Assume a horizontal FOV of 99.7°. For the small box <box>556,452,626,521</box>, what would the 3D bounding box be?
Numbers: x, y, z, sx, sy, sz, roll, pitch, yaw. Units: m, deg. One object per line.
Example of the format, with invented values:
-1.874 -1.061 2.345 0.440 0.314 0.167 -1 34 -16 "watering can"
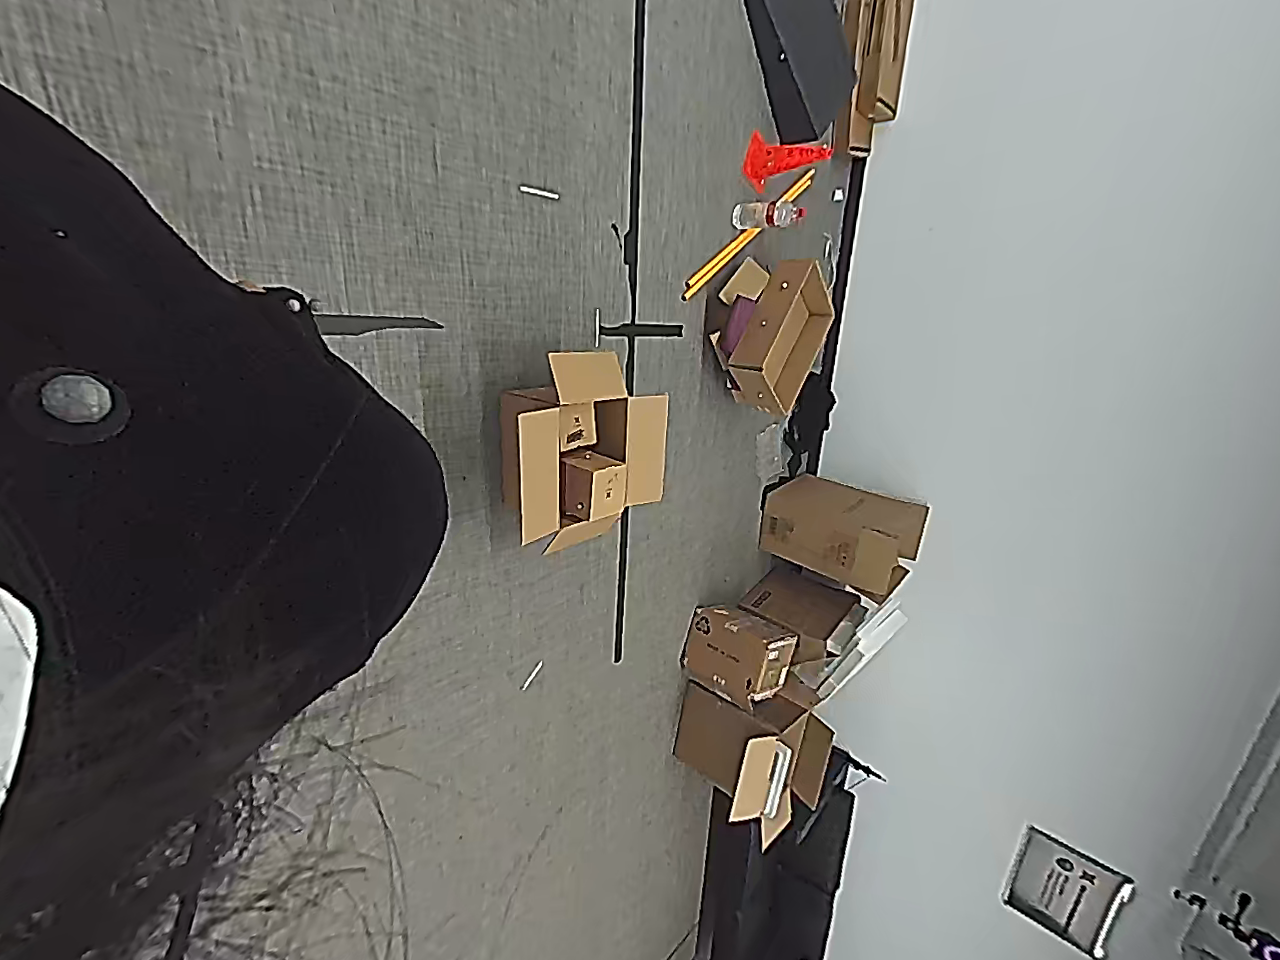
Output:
-0.169 0.017 1.831 0.168 0.176 0.179 -16 116 -48 "small box"
